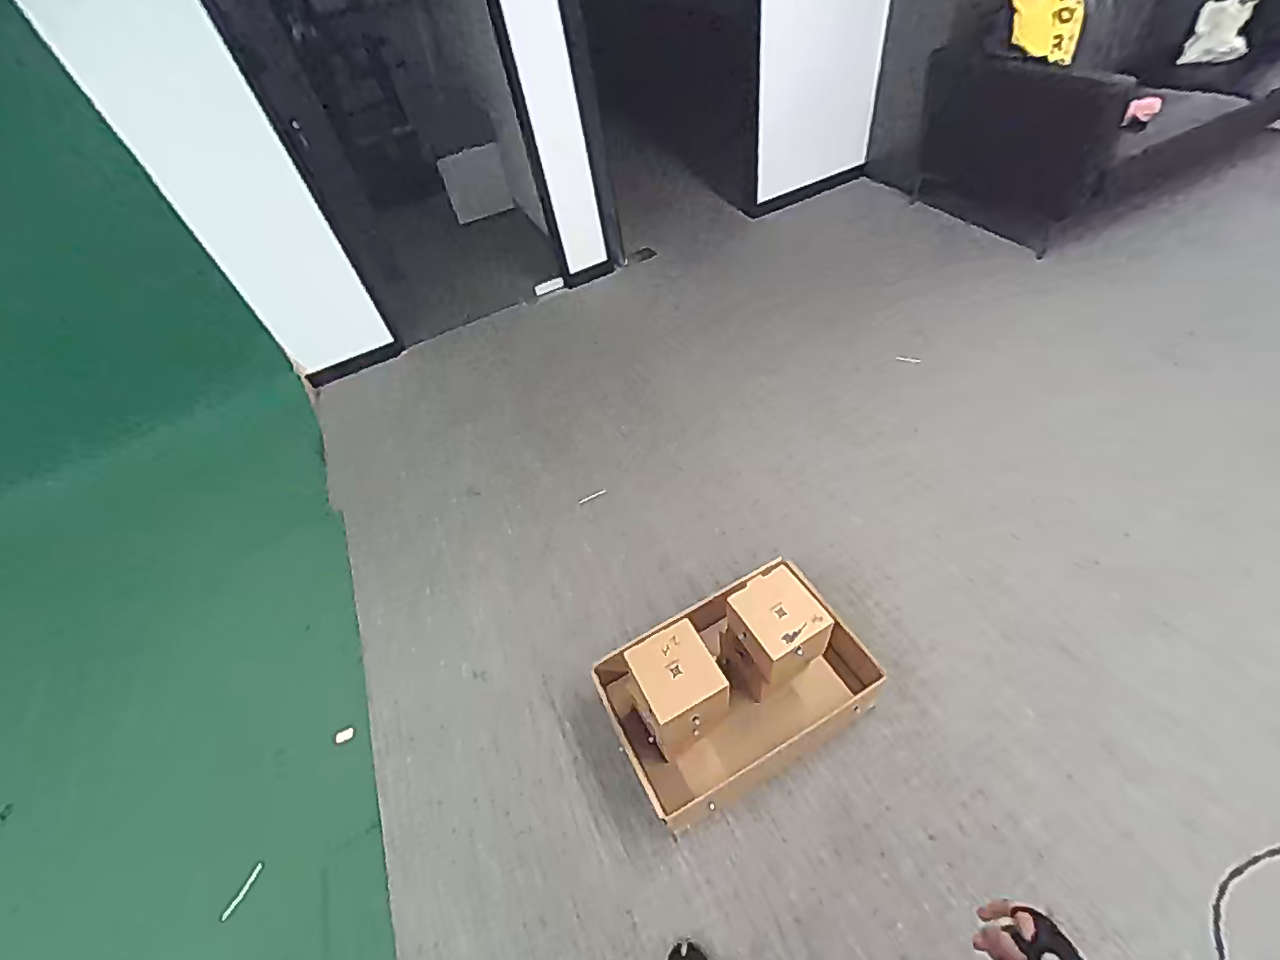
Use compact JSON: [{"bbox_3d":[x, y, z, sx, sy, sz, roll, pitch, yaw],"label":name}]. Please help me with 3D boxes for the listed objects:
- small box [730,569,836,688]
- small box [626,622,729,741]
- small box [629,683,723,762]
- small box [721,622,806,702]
[{"bbox_3d":[0.324,0.347,1.259,0.168,0.176,0.179,-27,50,-12],"label":"small box"},{"bbox_3d":[0.087,0.457,1.206,0.168,0.176,0.179,-25,51,-13],"label":"small box"},{"bbox_3d":[0.095,0.561,1.333,0.179,0.176,0.168,-28,51,-16],"label":"small box"},{"bbox_3d":[0.328,0.438,1.394,0.179,0.176,0.168,-28,51,-16],"label":"small box"}]
